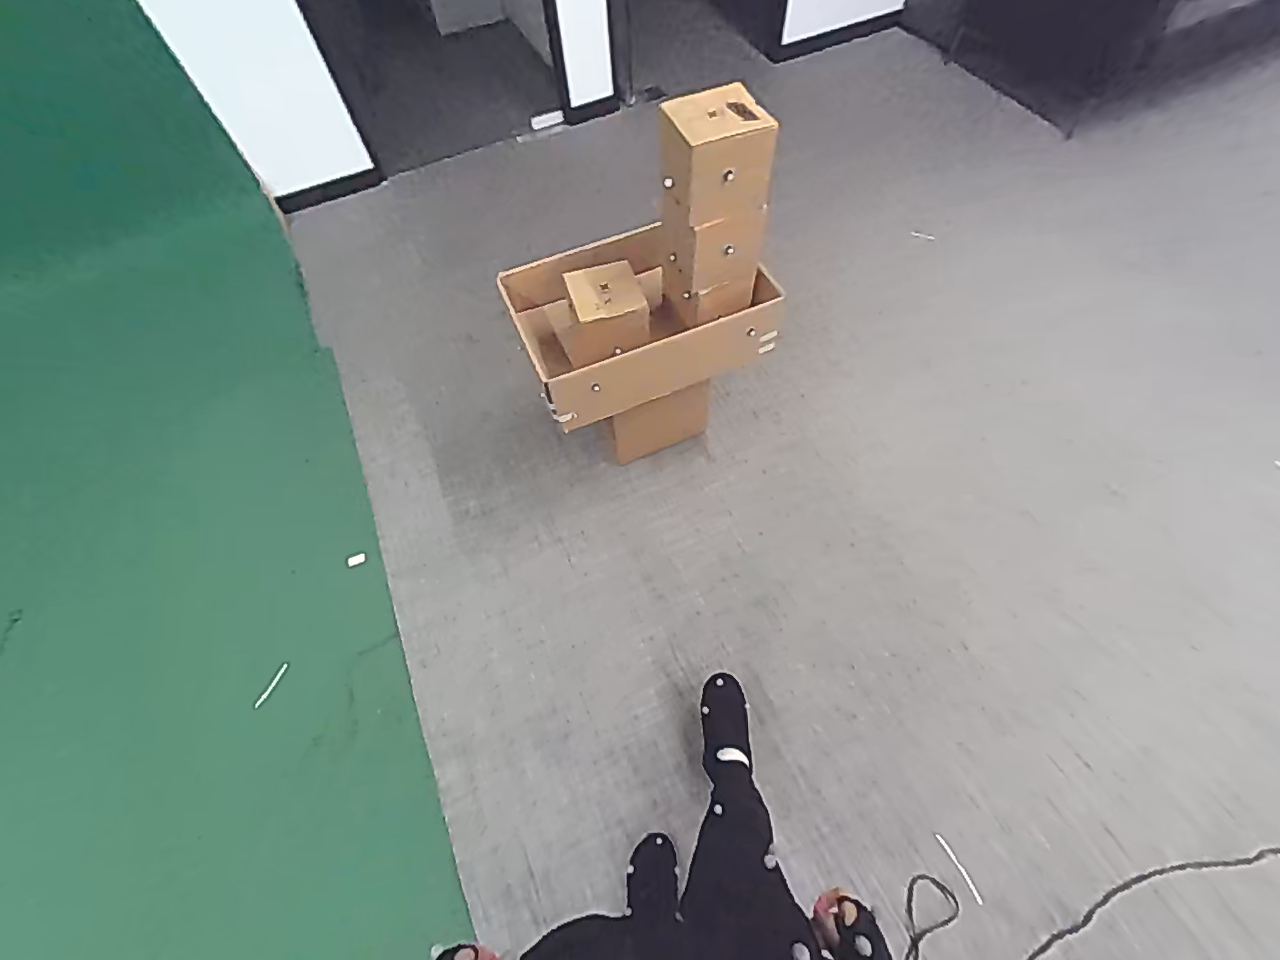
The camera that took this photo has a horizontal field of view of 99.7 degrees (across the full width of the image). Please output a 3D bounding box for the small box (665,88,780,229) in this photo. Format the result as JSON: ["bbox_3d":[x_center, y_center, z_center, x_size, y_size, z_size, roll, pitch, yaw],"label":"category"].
[{"bbox_3d":[0.156,-0.645,1.094,0.179,0.176,0.168,-19,61,-7],"label":"small box"}]
